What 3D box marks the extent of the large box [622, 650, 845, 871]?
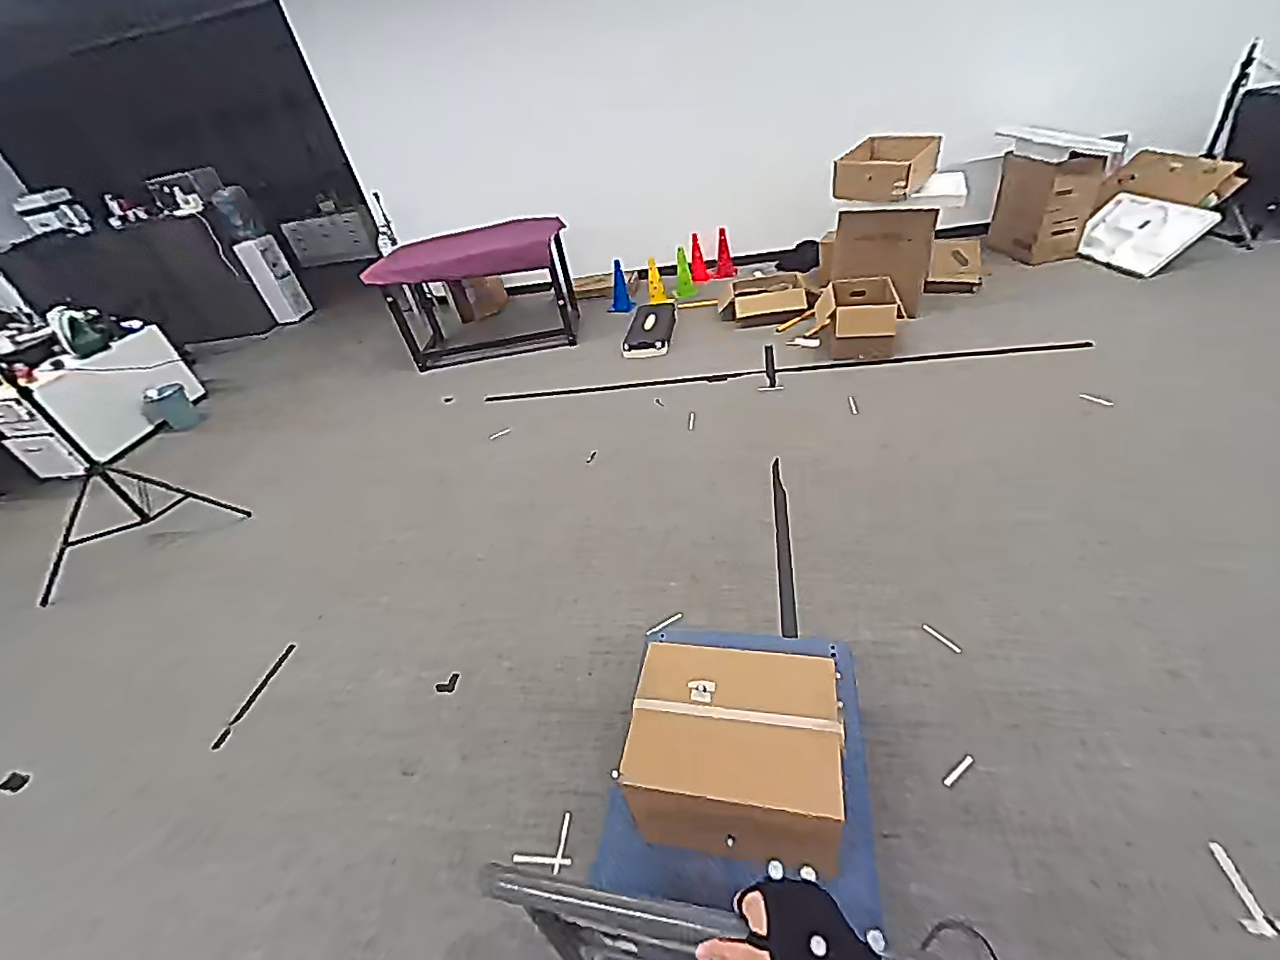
[{"bbox_3d":[0.213,0.599,1.175,0.408,0.320,0.320,-1,38,16],"label":"large box"}]
